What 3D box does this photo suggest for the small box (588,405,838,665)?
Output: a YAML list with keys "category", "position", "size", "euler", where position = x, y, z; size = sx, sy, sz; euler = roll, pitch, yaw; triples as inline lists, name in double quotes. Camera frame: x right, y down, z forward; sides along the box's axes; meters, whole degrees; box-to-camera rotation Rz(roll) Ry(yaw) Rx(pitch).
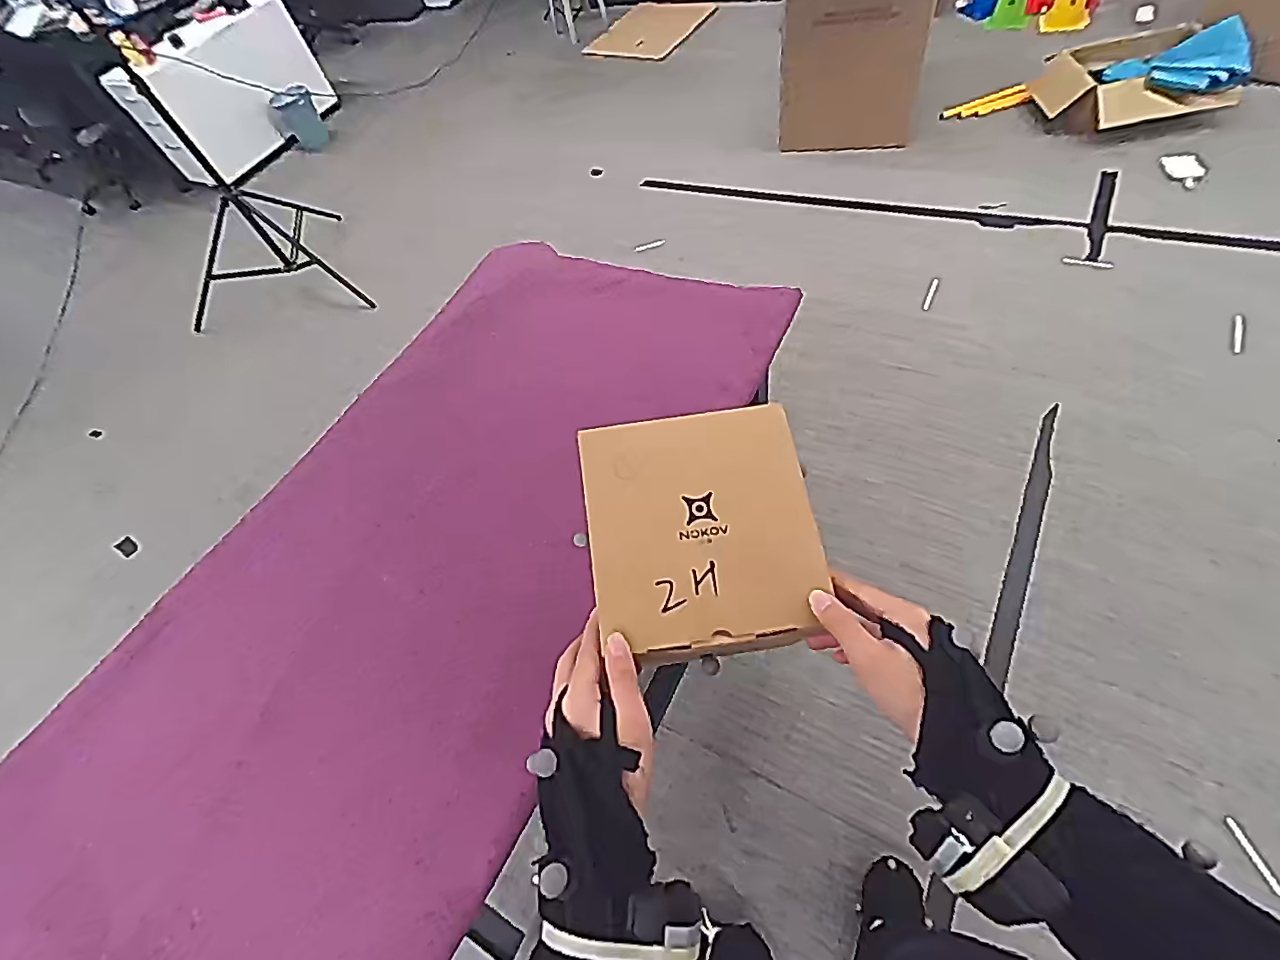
- category: "small box"
  position: [0.048, 0.057, 0.475]
  size: [0.168, 0.176, 0.179]
  euler: [-7, 68, -1]
